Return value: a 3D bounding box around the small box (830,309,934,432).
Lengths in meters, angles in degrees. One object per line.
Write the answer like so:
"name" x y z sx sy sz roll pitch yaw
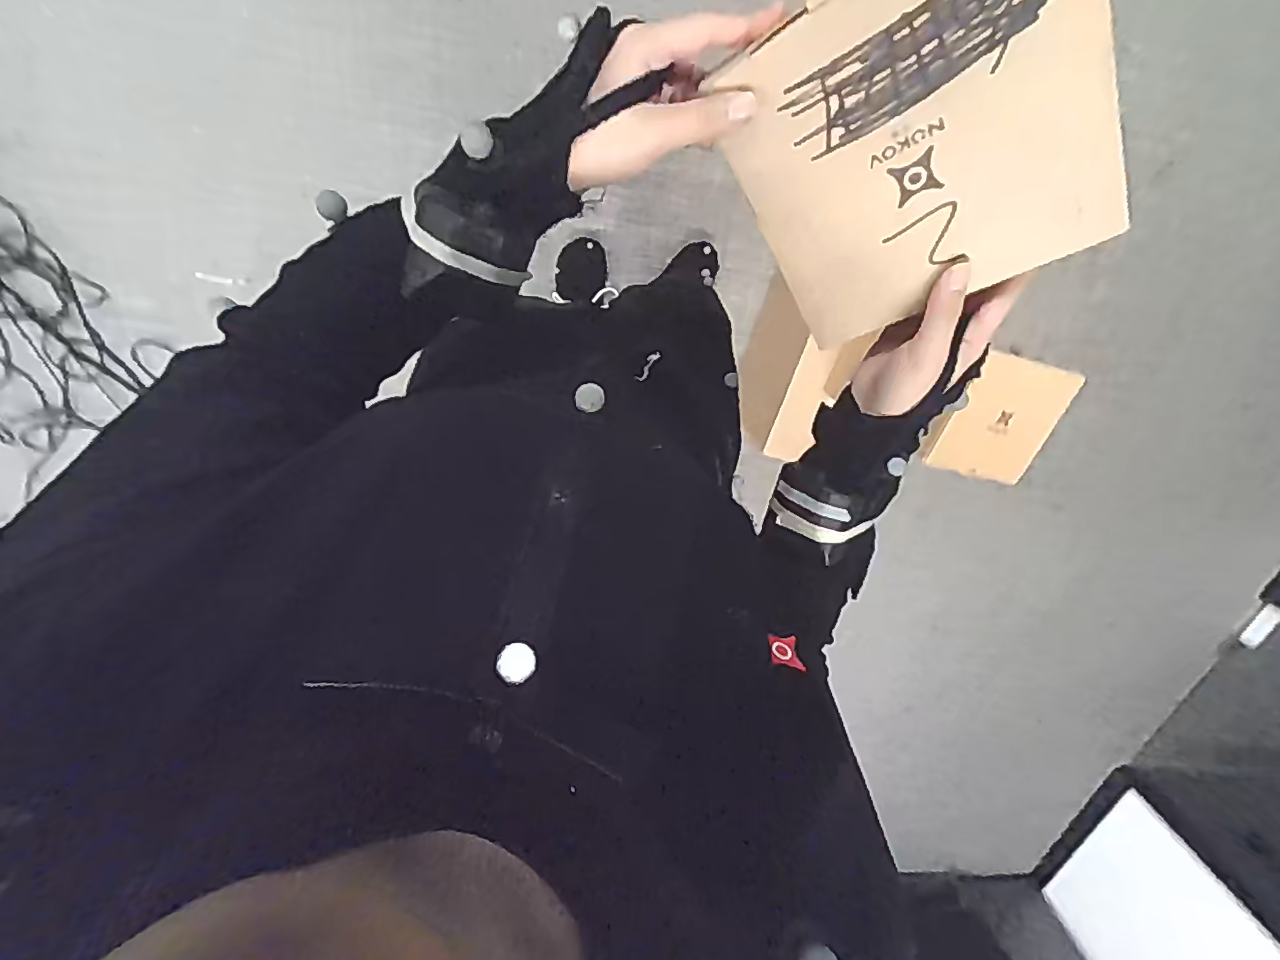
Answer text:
"small box" 0.468 -0.189 0.969 0.168 0.176 0.179 12 115 -13

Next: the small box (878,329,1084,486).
"small box" 0.500 -0.117 0.826 0.168 0.176 0.179 11 116 -13

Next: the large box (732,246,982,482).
"large box" 0.440 -0.262 1.202 0.320 0.320 0.408 12 117 -11
